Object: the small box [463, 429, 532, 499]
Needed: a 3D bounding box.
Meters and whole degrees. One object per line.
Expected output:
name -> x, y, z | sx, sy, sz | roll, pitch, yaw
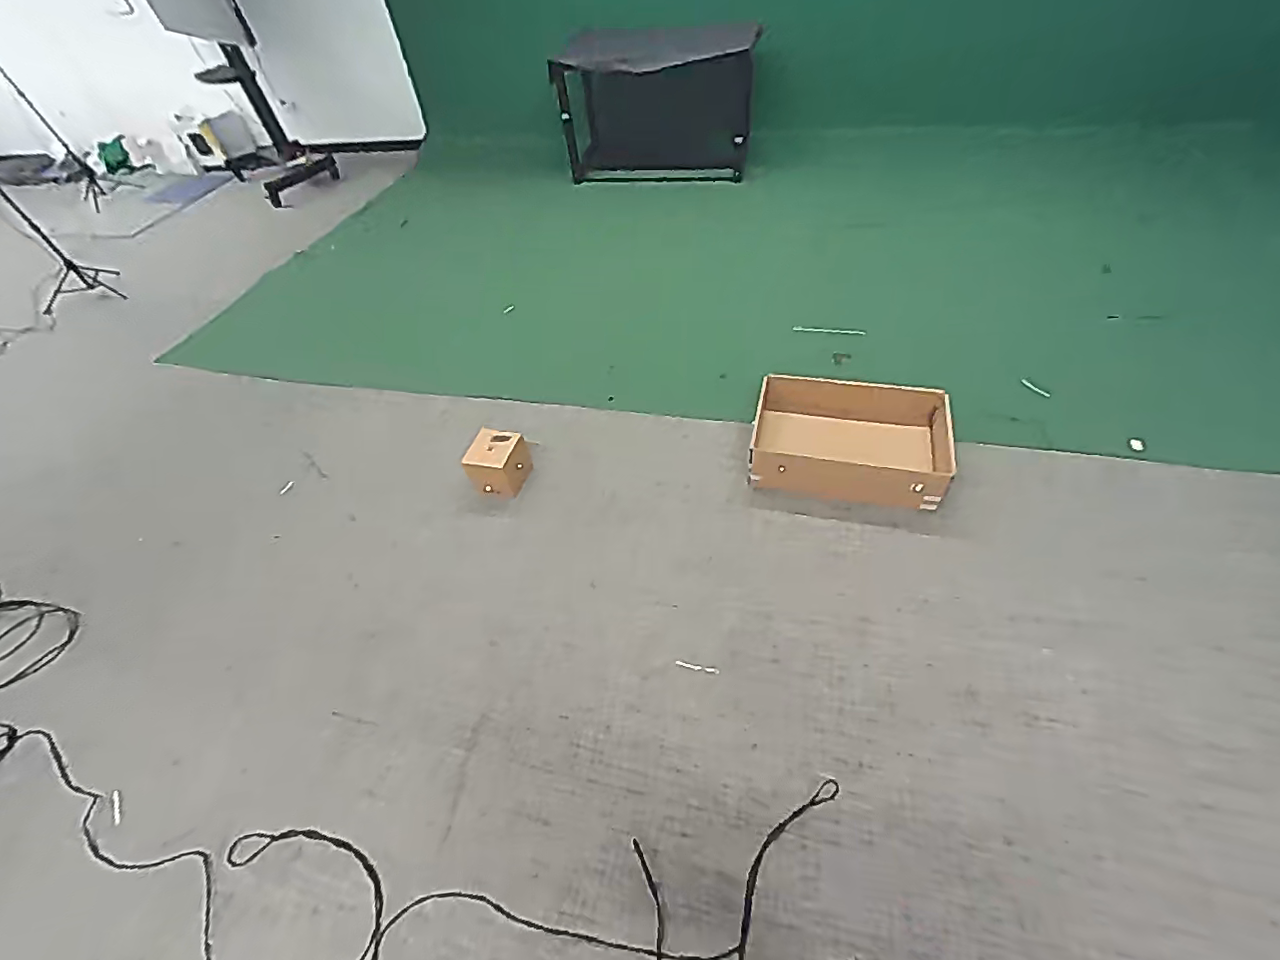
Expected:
small box -> -0.510, -0.059, 1.967 | 0.168, 0.176, 0.179 | 8, 52, 14
